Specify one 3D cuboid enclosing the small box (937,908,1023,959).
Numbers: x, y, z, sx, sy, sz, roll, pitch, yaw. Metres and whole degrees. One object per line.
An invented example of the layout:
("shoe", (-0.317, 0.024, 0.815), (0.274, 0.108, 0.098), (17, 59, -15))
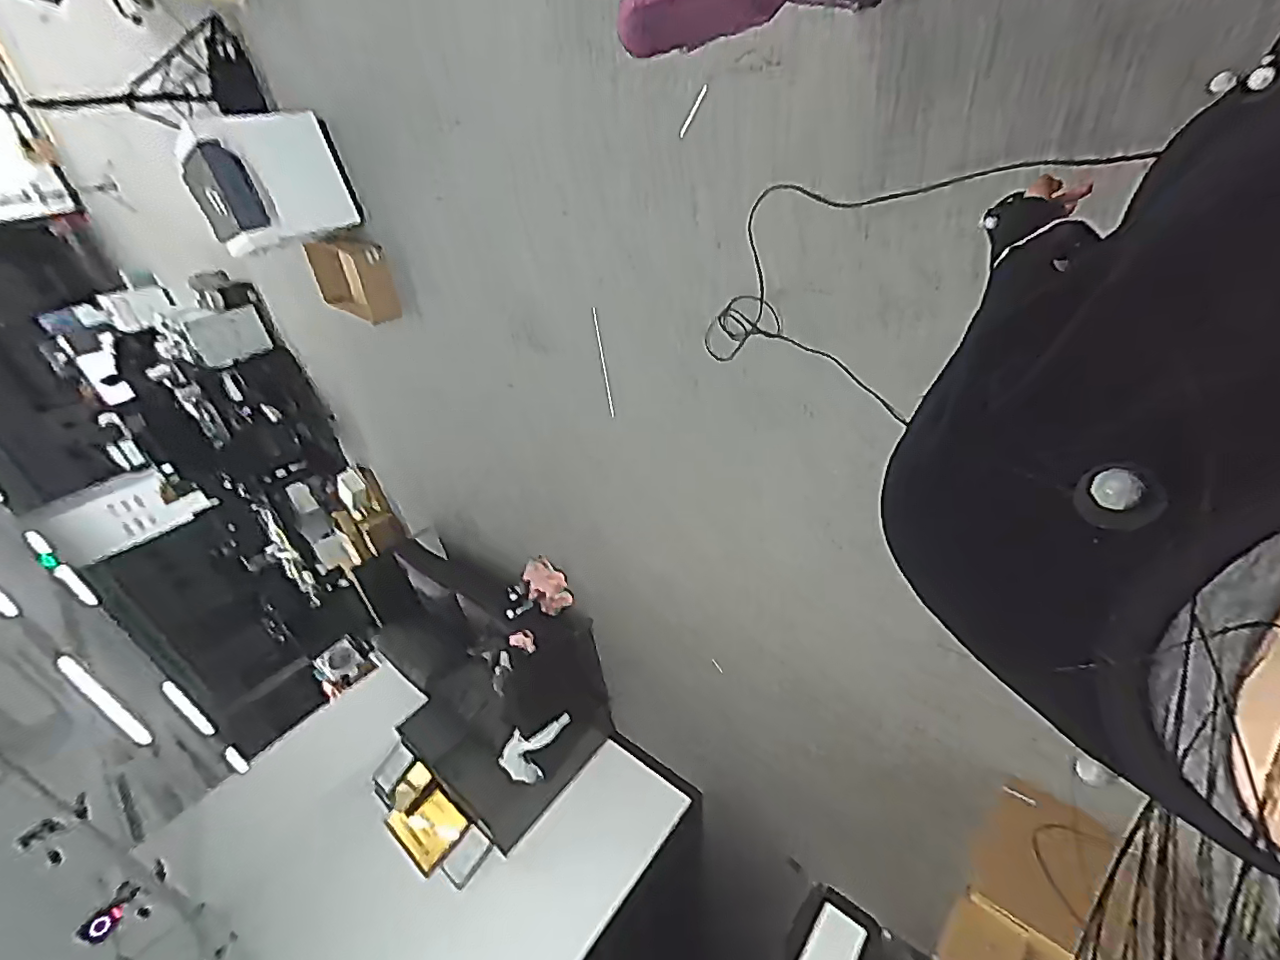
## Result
("small box", (1.005, 1.438, 1.607), (0.179, 0.176, 0.168), (22, 130, 34))
